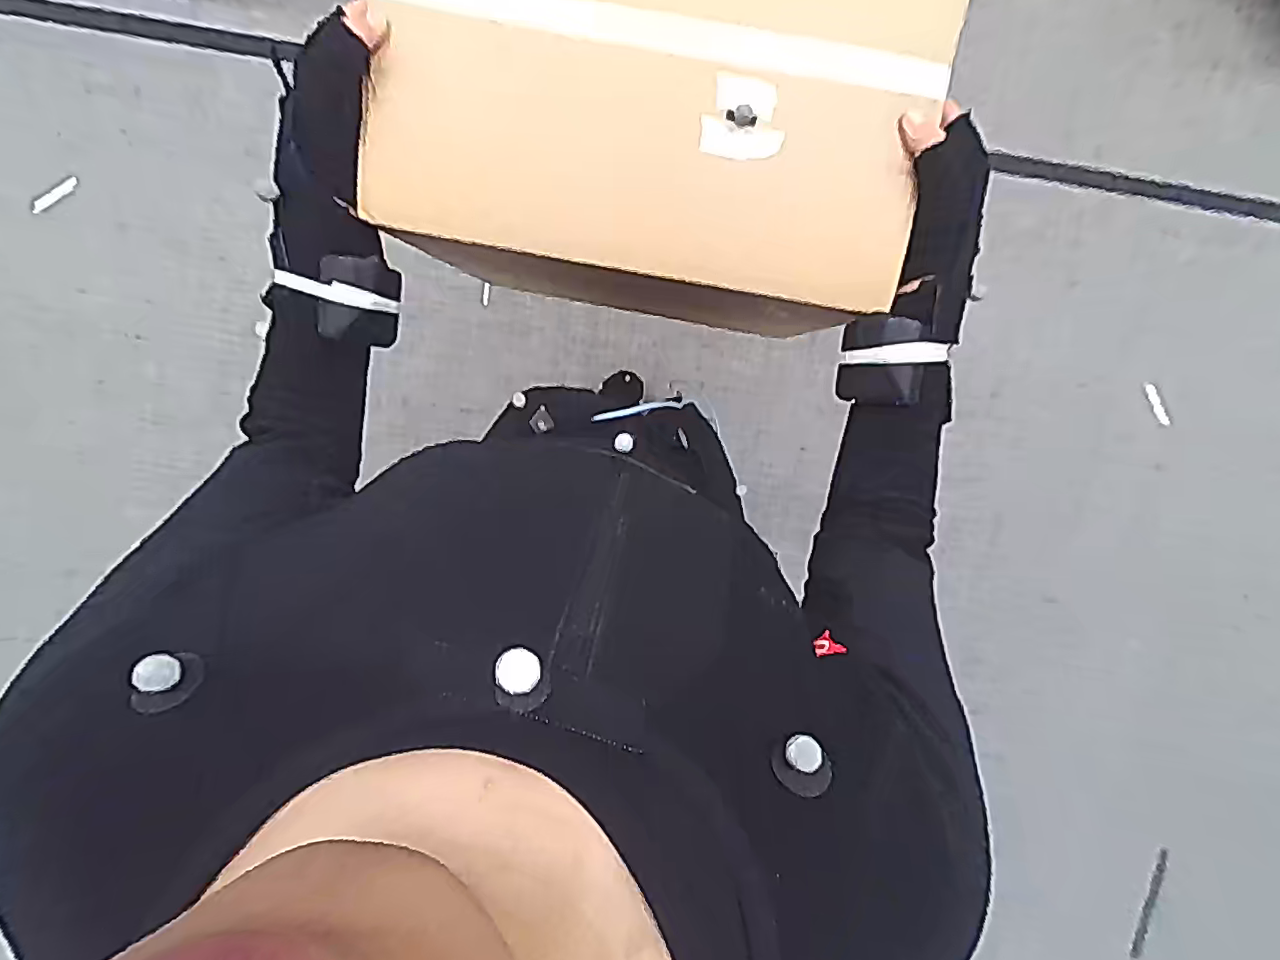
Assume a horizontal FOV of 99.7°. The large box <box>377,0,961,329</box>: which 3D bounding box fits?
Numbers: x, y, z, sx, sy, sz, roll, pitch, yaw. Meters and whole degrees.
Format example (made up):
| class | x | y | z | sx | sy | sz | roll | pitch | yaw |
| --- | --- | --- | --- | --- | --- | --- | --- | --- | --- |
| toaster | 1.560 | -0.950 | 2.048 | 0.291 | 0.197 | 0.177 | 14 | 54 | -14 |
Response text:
| class | x | y | z | sx | sy | sz | roll | pitch | yaw |
| --- | --- | --- | --- | --- | --- | --- | --- | --- | --- |
| large box | 0.018 | -0.344 | 0.529 | 0.408 | 0.320 | 0.320 | 10 | 103 | -2 |
